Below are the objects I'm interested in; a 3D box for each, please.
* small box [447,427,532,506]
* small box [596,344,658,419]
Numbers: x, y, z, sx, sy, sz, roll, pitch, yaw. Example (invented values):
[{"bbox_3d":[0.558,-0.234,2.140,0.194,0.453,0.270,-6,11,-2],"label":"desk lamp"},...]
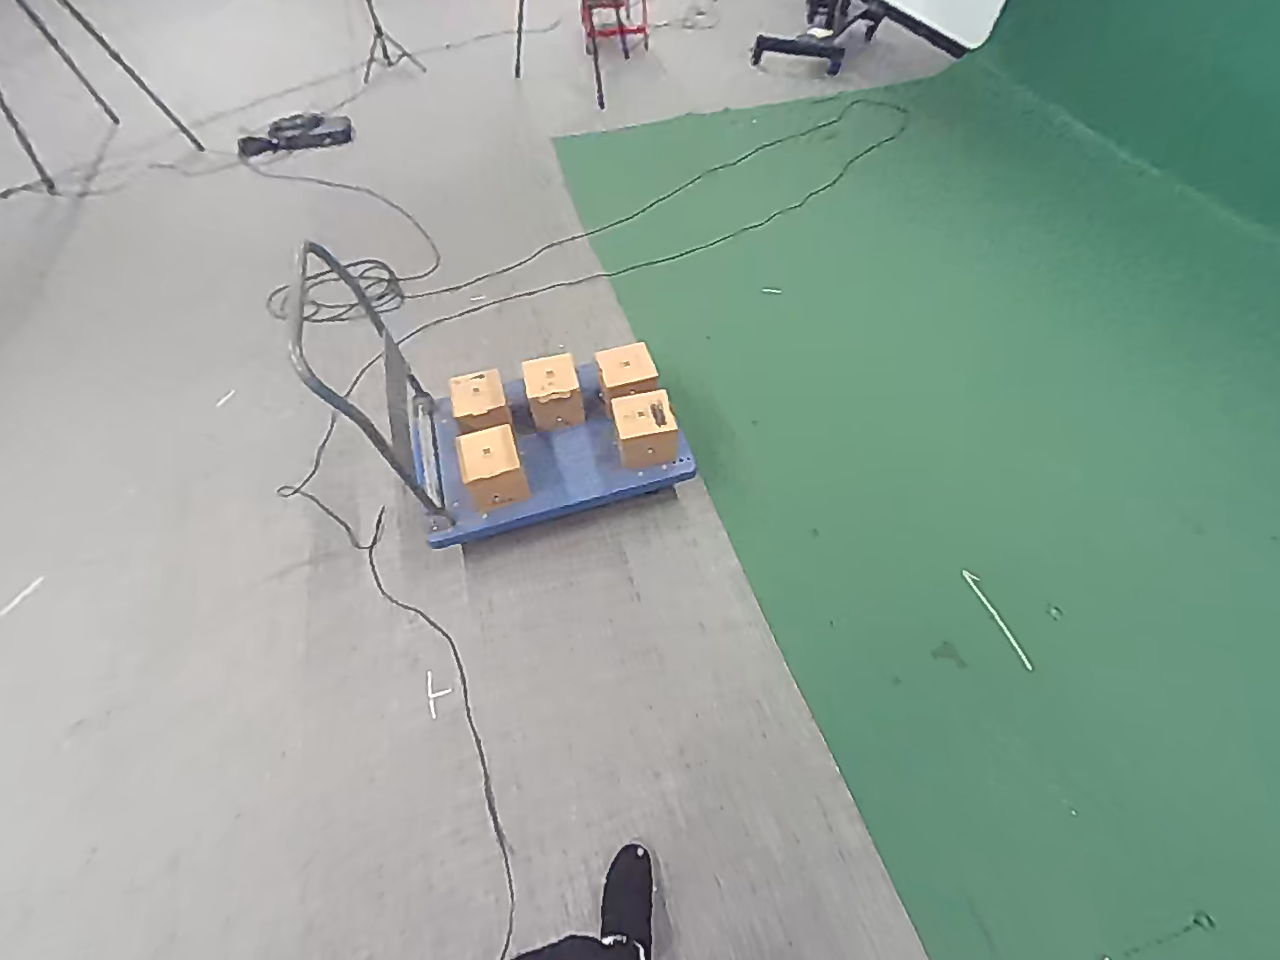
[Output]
[{"bbox_3d":[-0.450,-0.037,1.648,0.179,0.176,0.168,10,59,9],"label":"small box"},{"bbox_3d":[-0.040,-0.328,1.826,0.179,0.176,0.168,-13,58,-8],"label":"small box"}]
